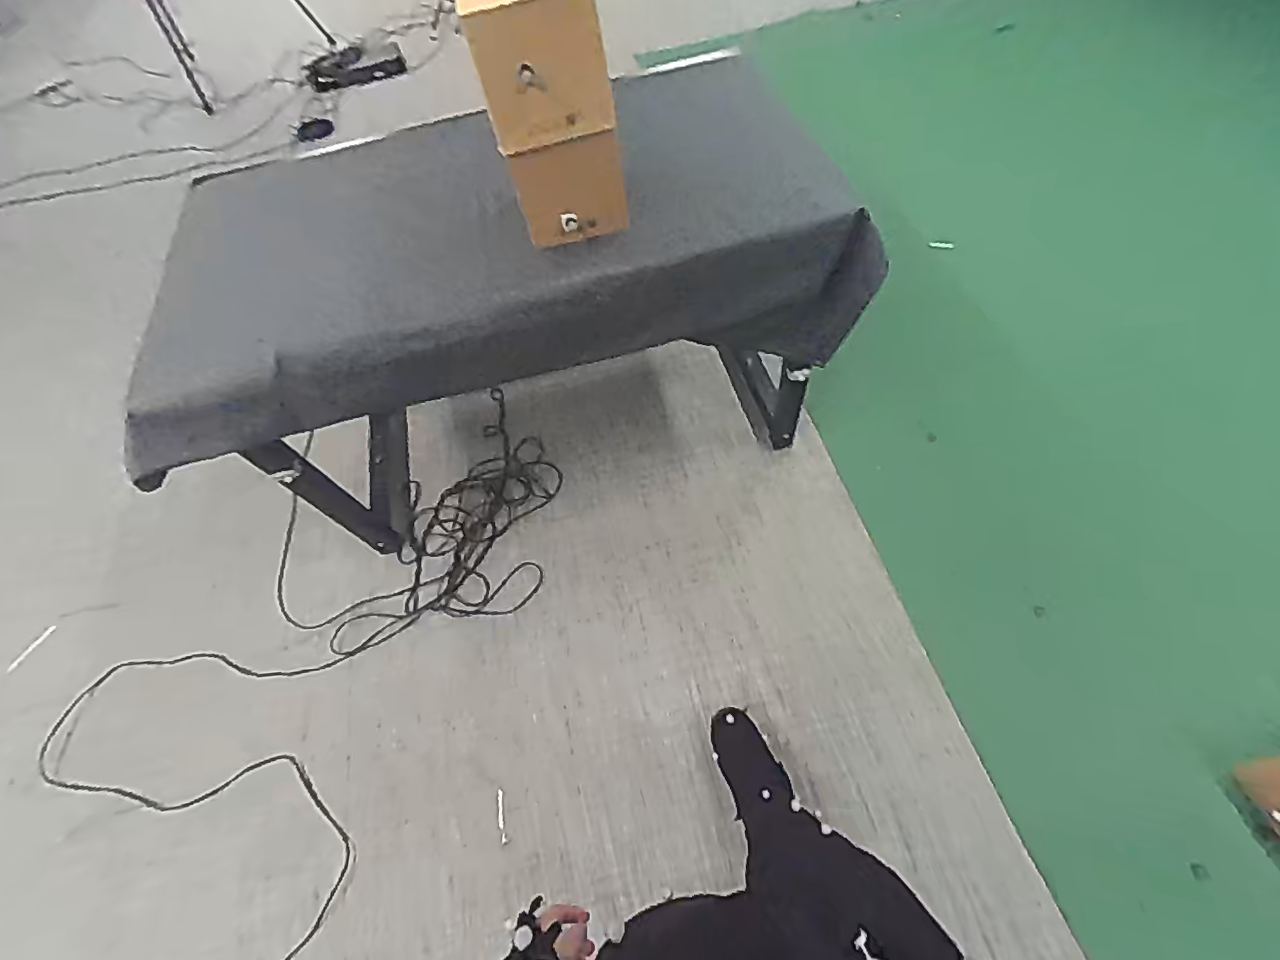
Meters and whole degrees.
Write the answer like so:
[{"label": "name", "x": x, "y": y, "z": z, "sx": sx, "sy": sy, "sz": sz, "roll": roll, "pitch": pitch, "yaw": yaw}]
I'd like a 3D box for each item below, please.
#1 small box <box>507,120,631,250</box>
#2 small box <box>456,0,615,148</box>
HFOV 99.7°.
[{"label": "small box", "x": -0.118, "y": -0.512, "z": 0.882, "sx": 0.168, "sy": 0.176, "sz": 0.179, "roll": -15, "pitch": 60, "yaw": 0}, {"label": "small box", "x": -0.139, "y": -0.584, "z": 0.738, "sx": 0.168, "sy": 0.176, "sz": 0.179, "roll": -16, "pitch": 59, "yaw": -1}]
